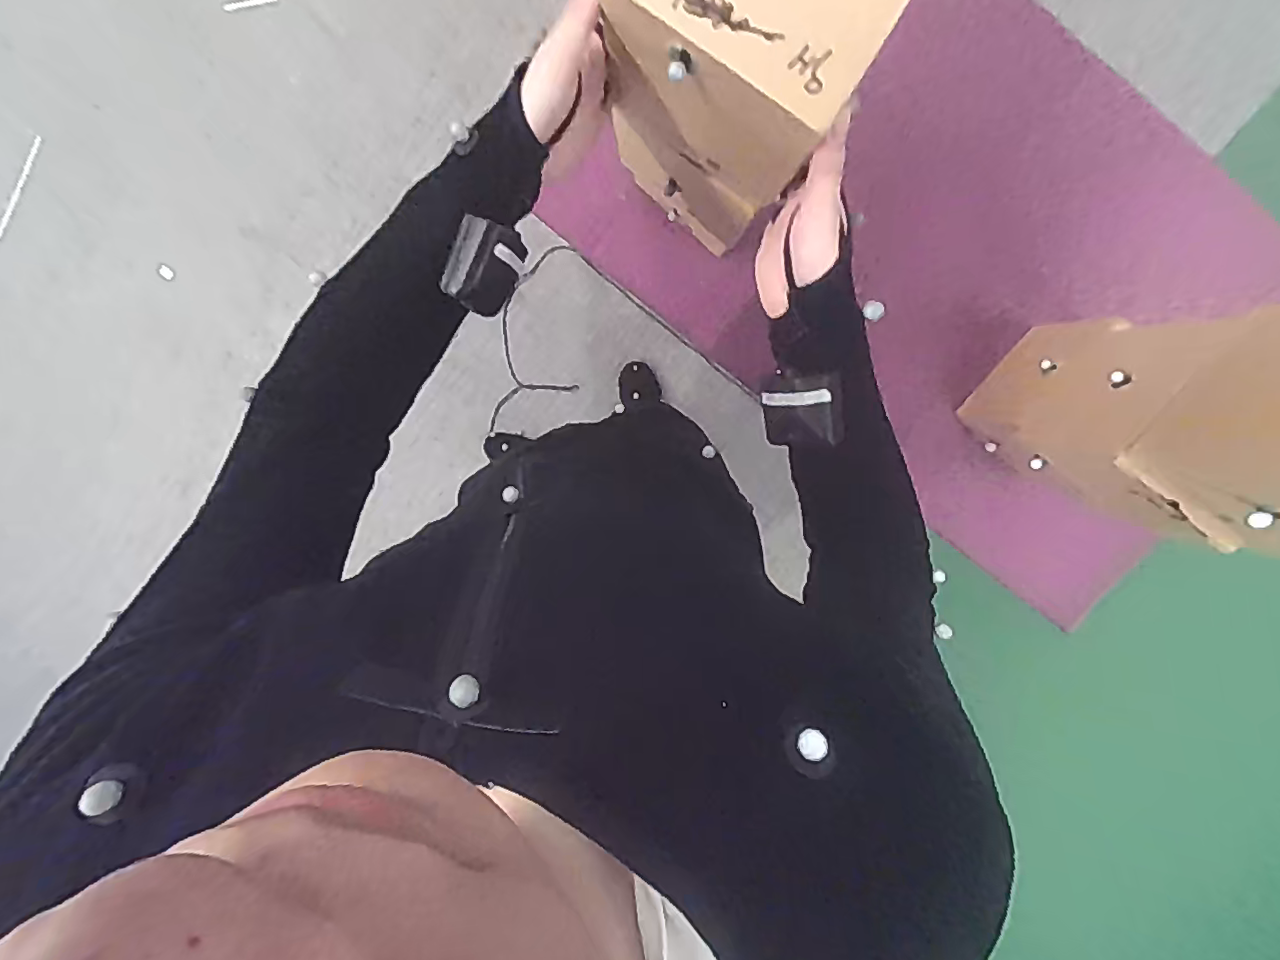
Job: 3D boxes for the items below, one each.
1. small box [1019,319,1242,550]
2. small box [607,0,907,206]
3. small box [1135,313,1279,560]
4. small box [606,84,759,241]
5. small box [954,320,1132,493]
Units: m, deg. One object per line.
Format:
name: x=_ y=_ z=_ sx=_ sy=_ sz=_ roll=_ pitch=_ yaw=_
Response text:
small box: x=0.584 y=-0.055 z=0.616 sx=0.168 sy=0.176 sz=0.179 roll=37 pitch=99 yaw=-6
small box: x=0.086 y=-0.338 z=0.387 sx=0.168 sy=0.176 sz=0.179 roll=31 pitch=101 yaw=-5
small box: x=0.587 y=-0.029 z=0.456 sx=0.168 sy=0.176 sz=0.179 roll=35 pitch=99 yaw=-5
small box: x=0.088 y=-0.376 z=0.552 sx=0.168 sy=0.176 sz=0.179 roll=36 pitch=102 yaw=-7
small box: x=0.601 y=-0.104 z=0.773 sx=0.168 sy=0.176 sz=0.179 roll=39 pitch=101 yaw=-6
